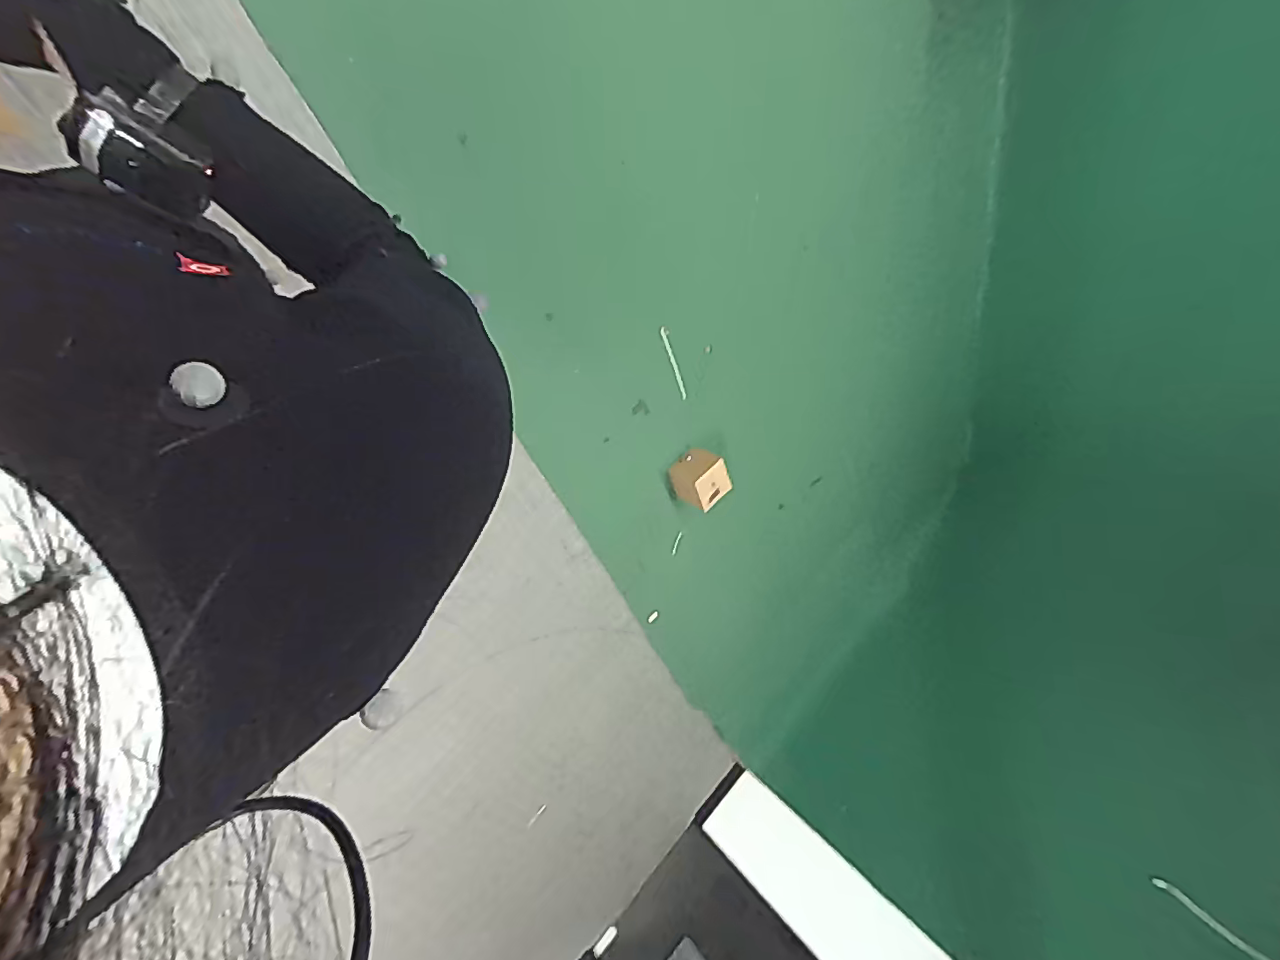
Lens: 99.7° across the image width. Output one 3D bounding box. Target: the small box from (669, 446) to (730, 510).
[{"bbox_3d":[0.246,-0.014,2.243,0.168,0.176,0.179,-41,132,-19],"label":"small box"}]
